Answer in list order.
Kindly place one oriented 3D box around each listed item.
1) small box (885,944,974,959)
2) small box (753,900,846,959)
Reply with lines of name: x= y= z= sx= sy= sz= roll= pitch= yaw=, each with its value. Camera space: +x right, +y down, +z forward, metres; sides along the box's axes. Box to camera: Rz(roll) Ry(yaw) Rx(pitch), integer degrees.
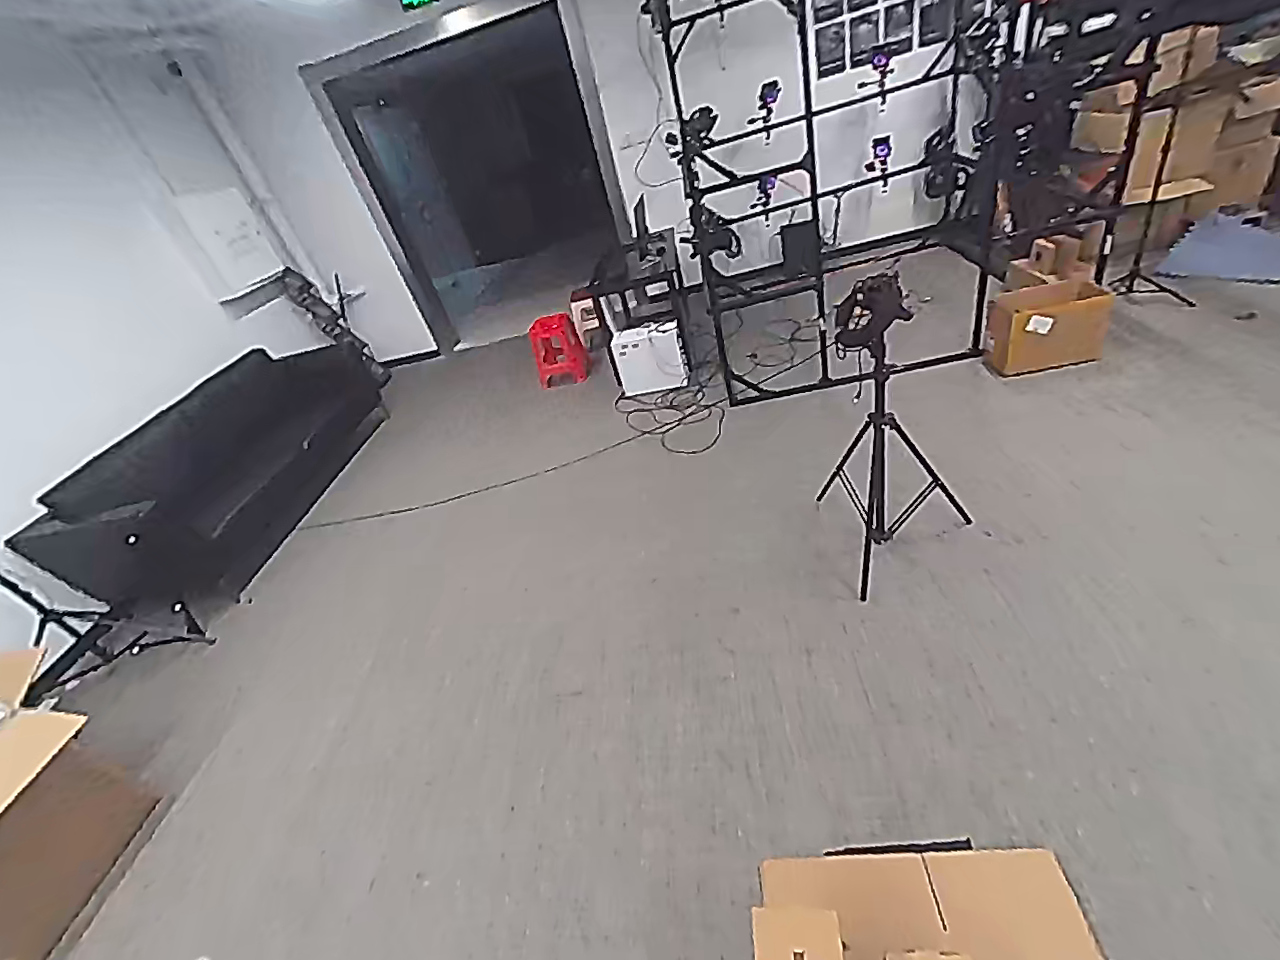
small box: x=0.586 y=1.057 z=1.066 sx=0.168 sy=0.176 sz=0.179 roll=-7 pitch=36 yaw=14
small box: x=0.314 y=0.950 z=1.044 sx=0.168 sy=0.176 sz=0.179 roll=-9 pitch=36 yaw=14
